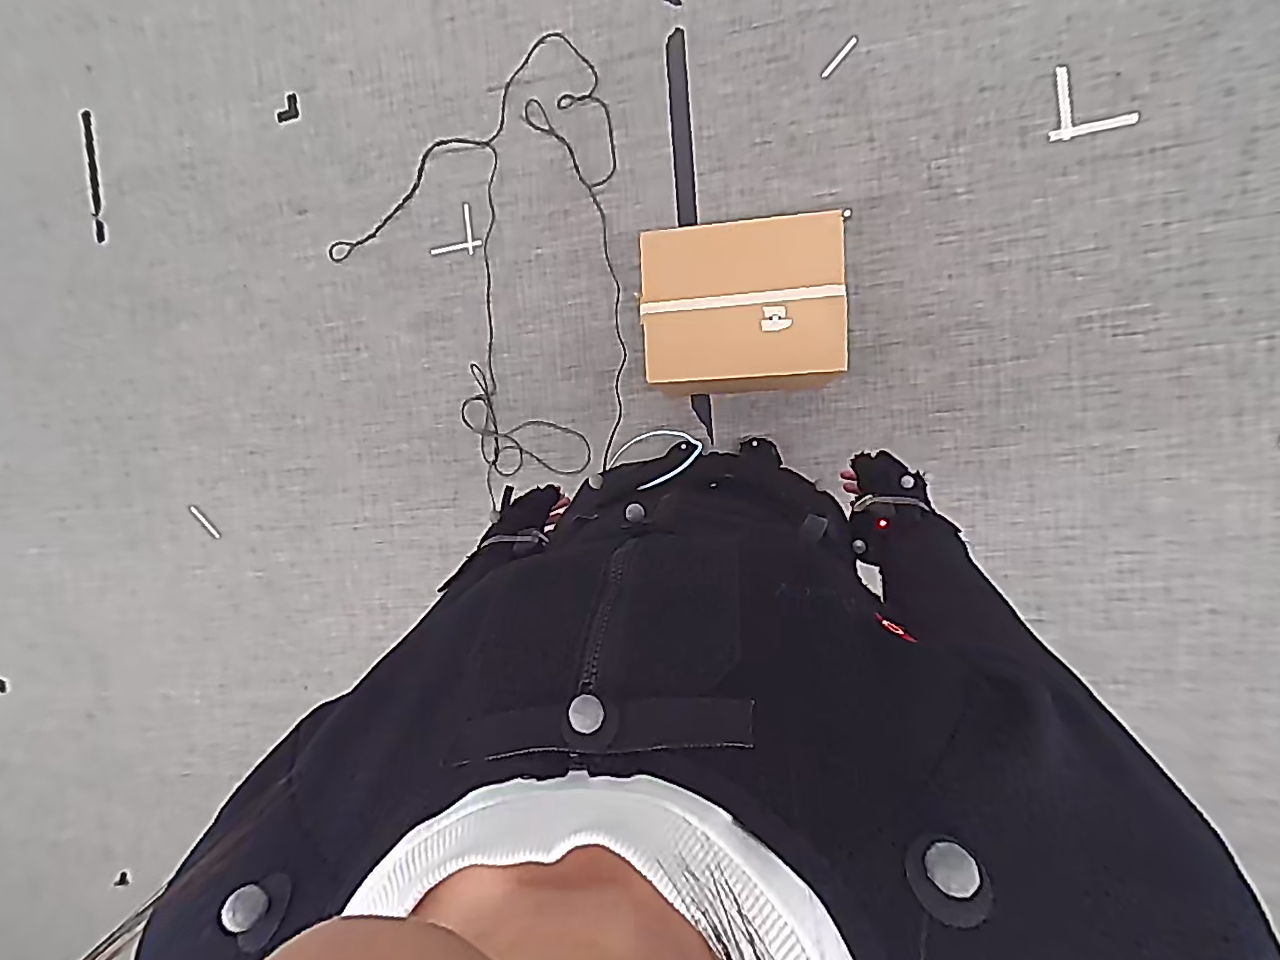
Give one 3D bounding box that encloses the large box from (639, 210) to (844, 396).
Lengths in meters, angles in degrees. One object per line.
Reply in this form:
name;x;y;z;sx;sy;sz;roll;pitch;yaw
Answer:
large box;0.225;-0.376;1.246;0.408;0.320;0.320;-2;94;9
